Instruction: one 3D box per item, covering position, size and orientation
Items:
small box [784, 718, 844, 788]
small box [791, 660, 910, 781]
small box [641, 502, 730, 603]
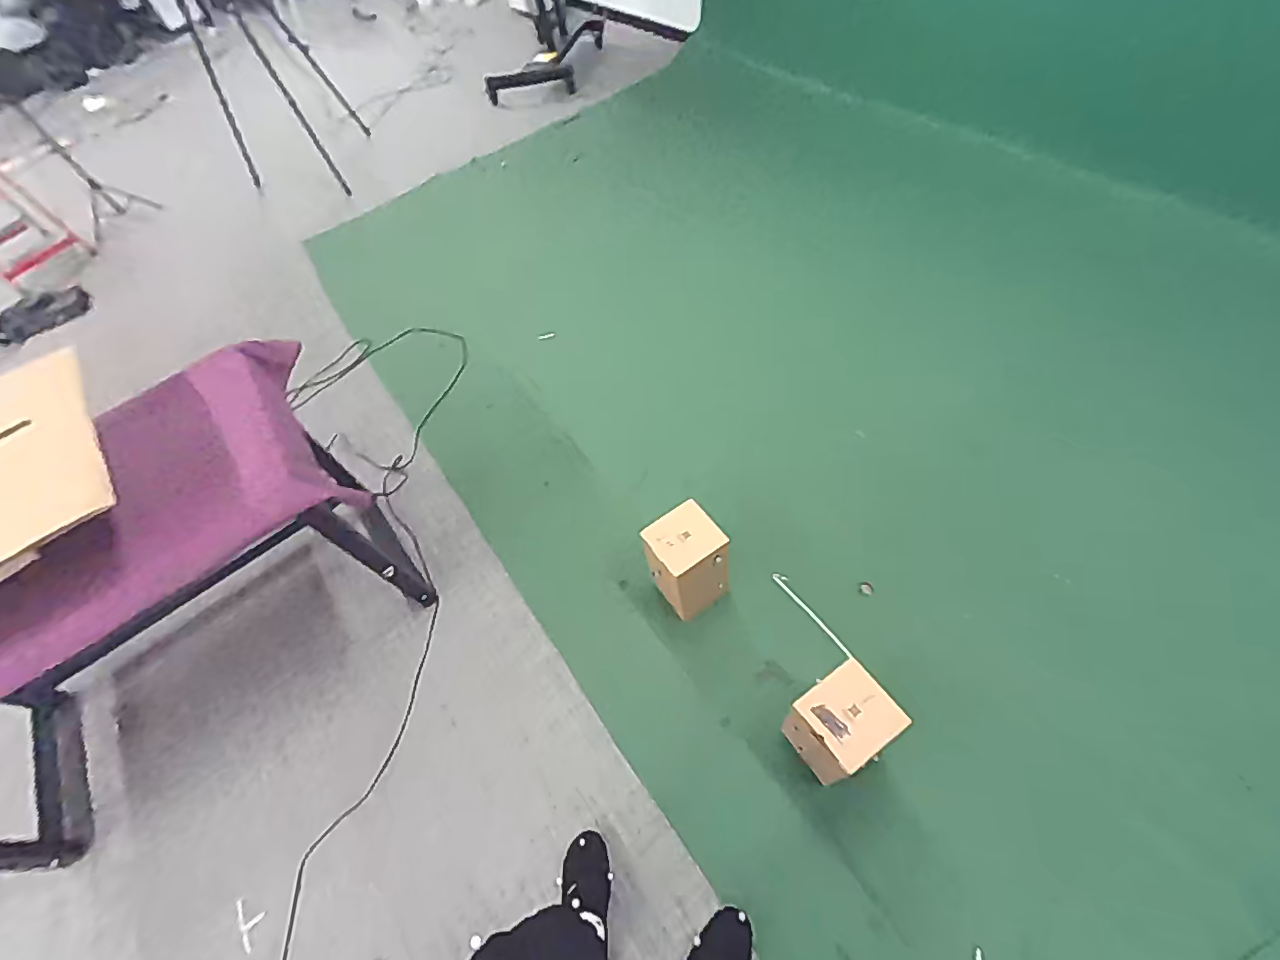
[{"bbox_3d":[0.471,0.622,1.322,0.179,0.176,0.168,-34,59,-12],"label":"small box"},{"bbox_3d":[0.449,0.534,1.186,0.179,0.176,0.168,-32,58,-12],"label":"small box"},{"bbox_3d":[0.124,0.199,1.462,0.179,0.176,0.168,-32,57,-12],"label":"small box"}]
